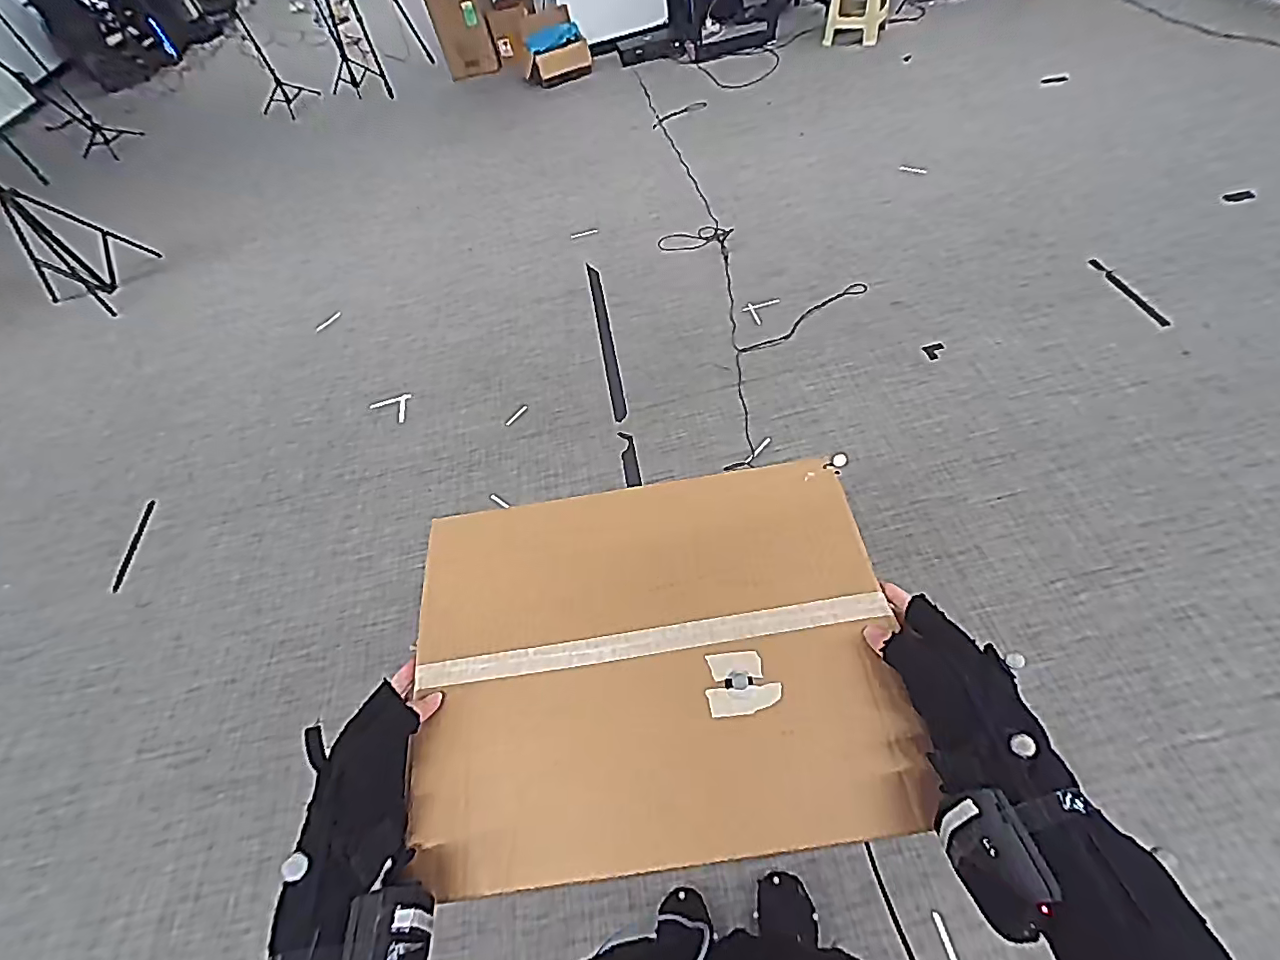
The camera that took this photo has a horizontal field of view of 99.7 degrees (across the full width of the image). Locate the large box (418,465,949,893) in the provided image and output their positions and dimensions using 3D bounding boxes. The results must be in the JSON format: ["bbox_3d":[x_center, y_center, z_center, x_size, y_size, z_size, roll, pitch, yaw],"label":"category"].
[{"bbox_3d":[0.024,0.222,0.598,0.408,0.320,0.320,-9,57,0],"label":"large box"}]
